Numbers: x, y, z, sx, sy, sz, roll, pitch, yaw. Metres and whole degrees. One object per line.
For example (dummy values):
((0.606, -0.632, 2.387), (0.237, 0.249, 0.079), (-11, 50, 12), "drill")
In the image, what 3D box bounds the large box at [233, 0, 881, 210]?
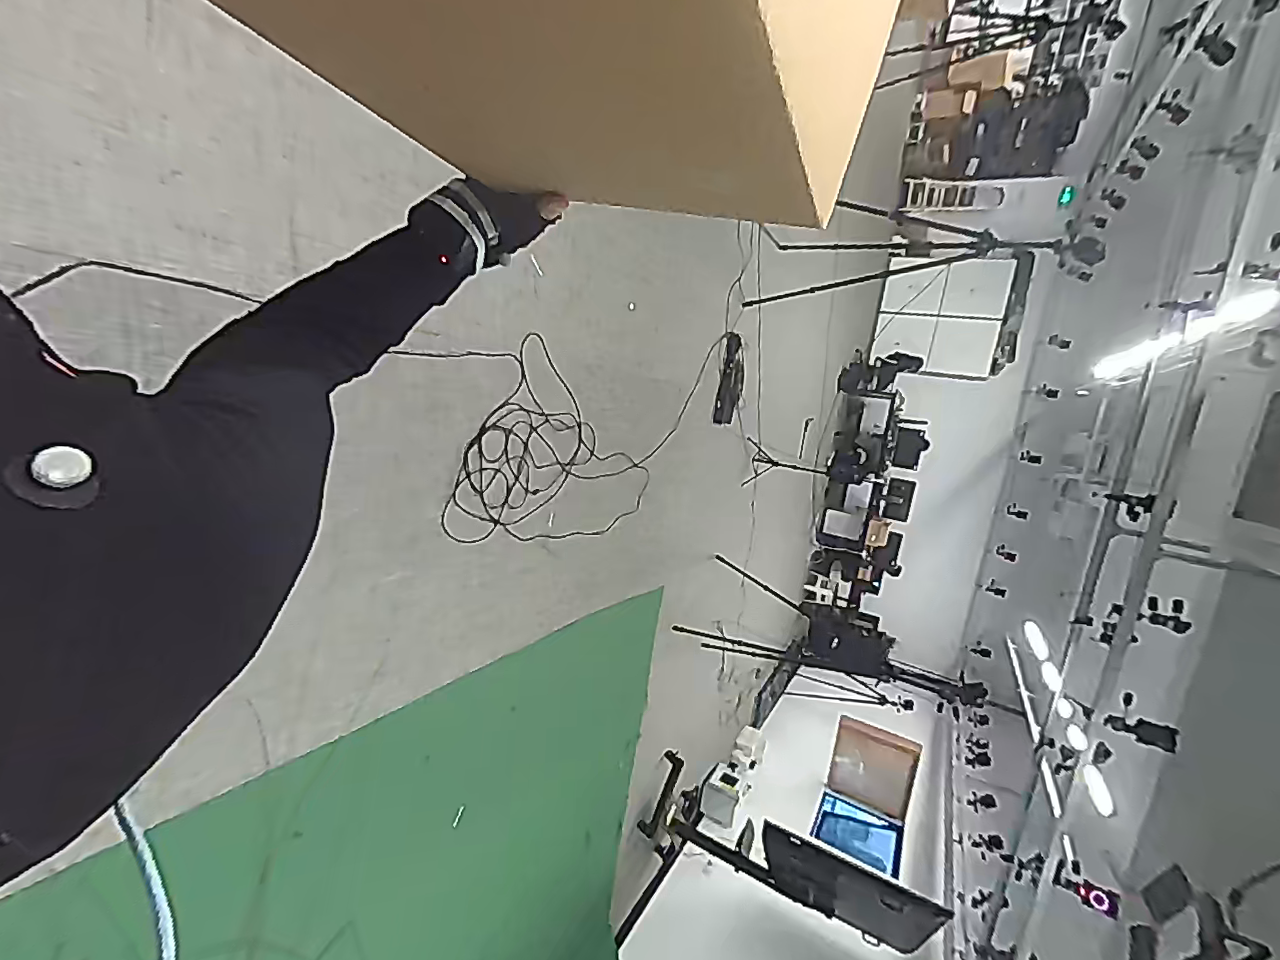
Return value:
((-0.048, -0.371, 0.250), (0.408, 0.320, 0.320), (-9, 116, -67), "large box")
